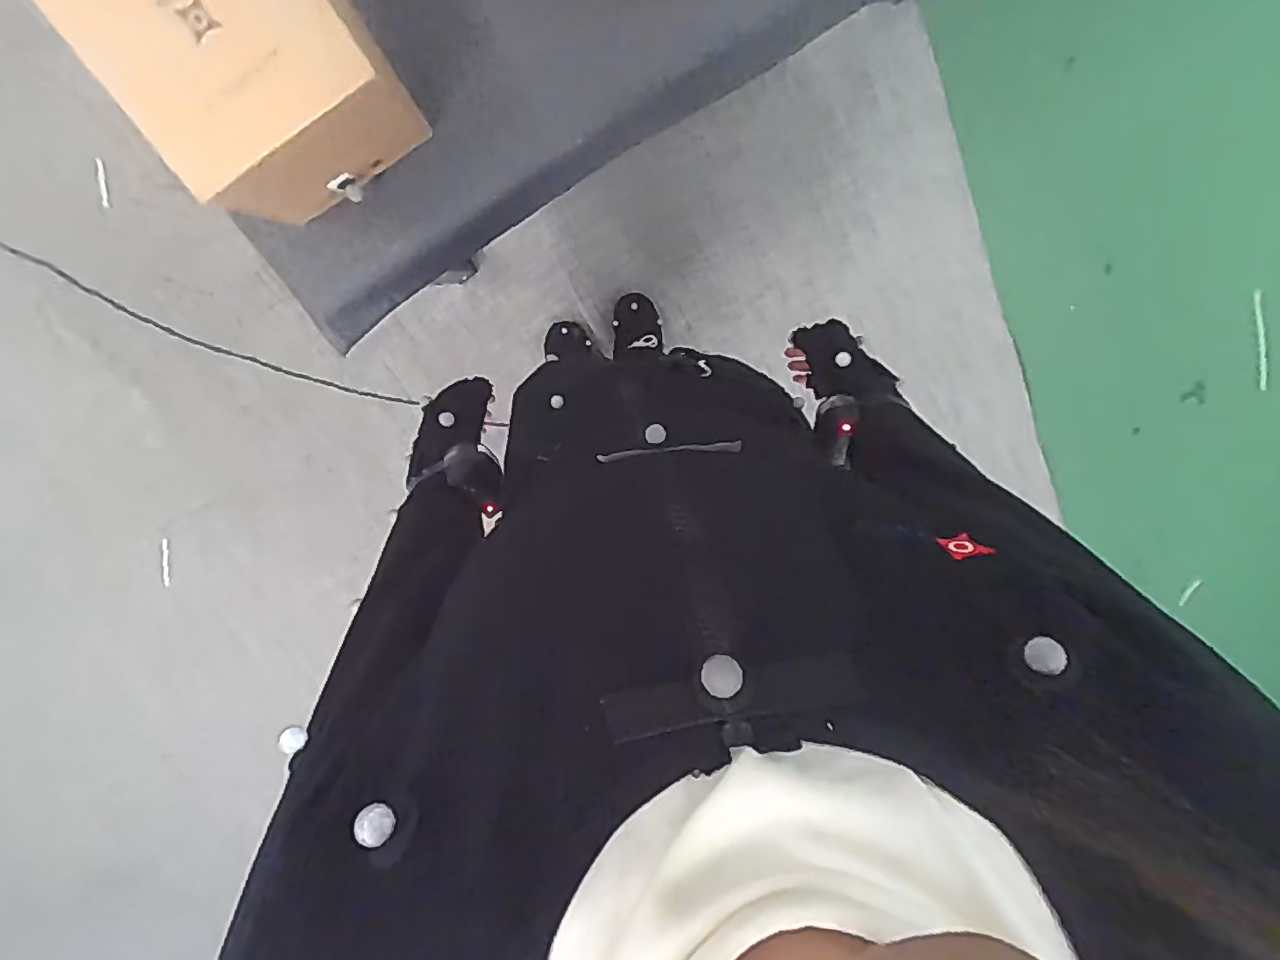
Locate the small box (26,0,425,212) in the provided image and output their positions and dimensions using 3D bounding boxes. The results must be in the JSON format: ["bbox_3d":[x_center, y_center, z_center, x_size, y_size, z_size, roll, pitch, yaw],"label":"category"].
[{"bbox_3d":[-0.303,-0.337,0.419,0.168,0.176,0.179,-29,110,7],"label":"small box"}]
